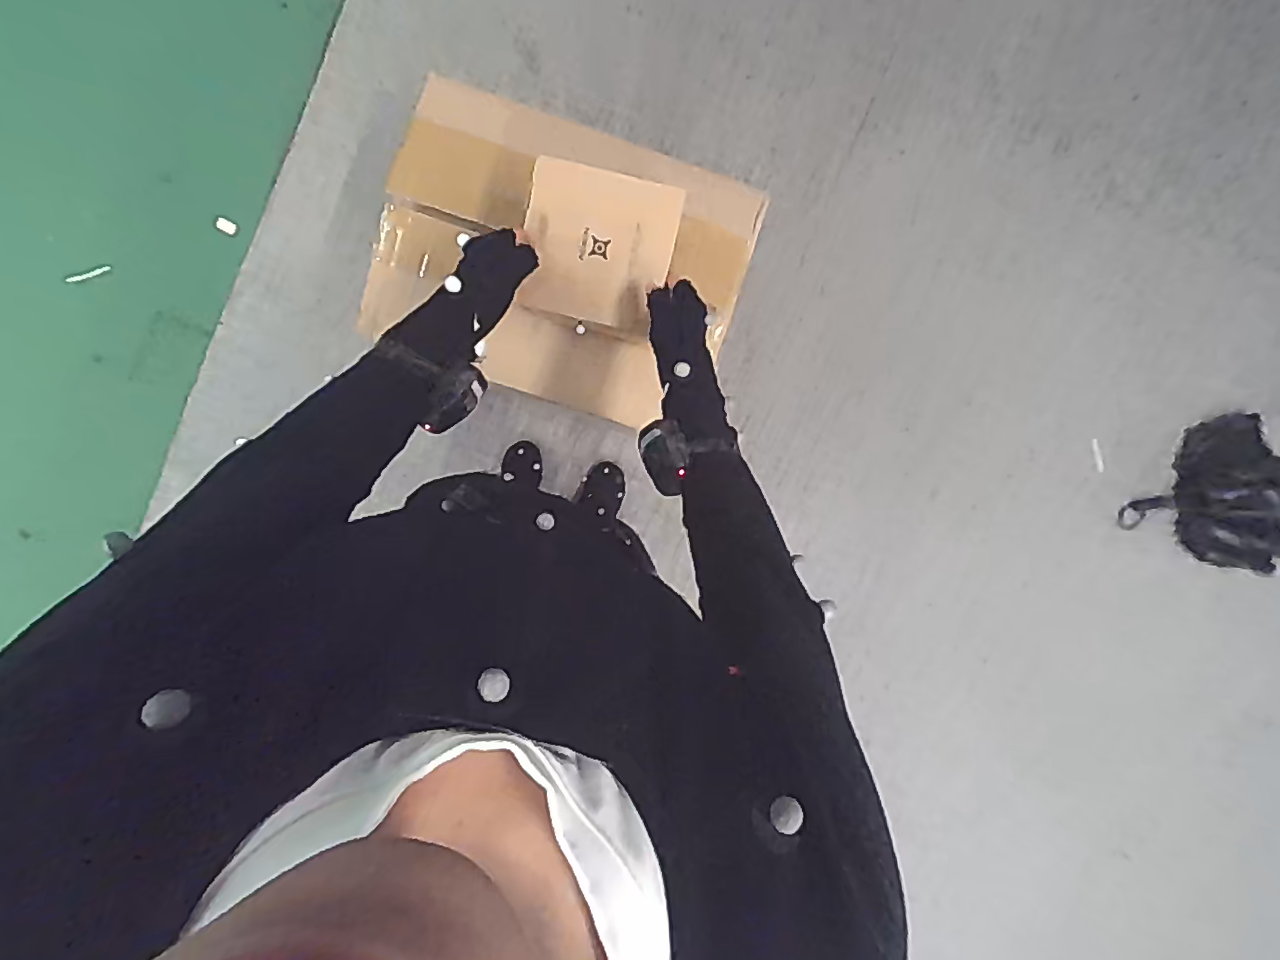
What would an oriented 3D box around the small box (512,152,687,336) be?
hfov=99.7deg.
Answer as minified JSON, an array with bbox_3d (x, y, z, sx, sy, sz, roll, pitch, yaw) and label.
[{"bbox_3d":[-0.049,-0.287,0.698,0.179,0.176,0.168,12,101,-3],"label":"small box"}]
